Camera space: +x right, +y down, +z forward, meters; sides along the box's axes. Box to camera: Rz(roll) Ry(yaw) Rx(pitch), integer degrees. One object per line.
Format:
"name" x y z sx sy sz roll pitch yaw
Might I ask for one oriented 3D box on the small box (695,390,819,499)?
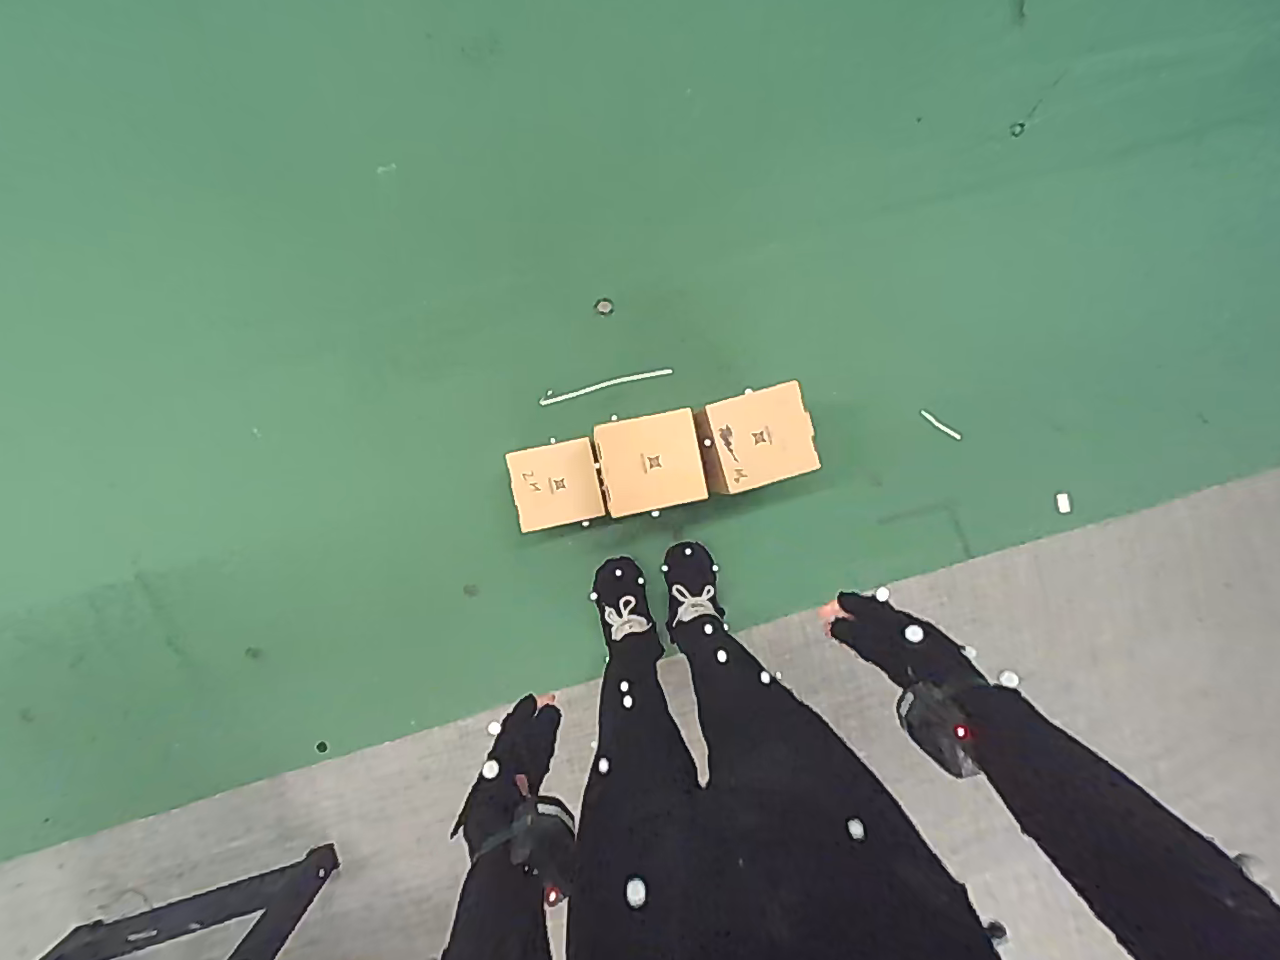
"small box" 0.214 -0.067 1.044 0.179 0.176 0.168 -15 91 -3

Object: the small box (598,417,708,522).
"small box" 0.019 -0.022 1.030 0.179 0.176 0.168 -10 92 -3
